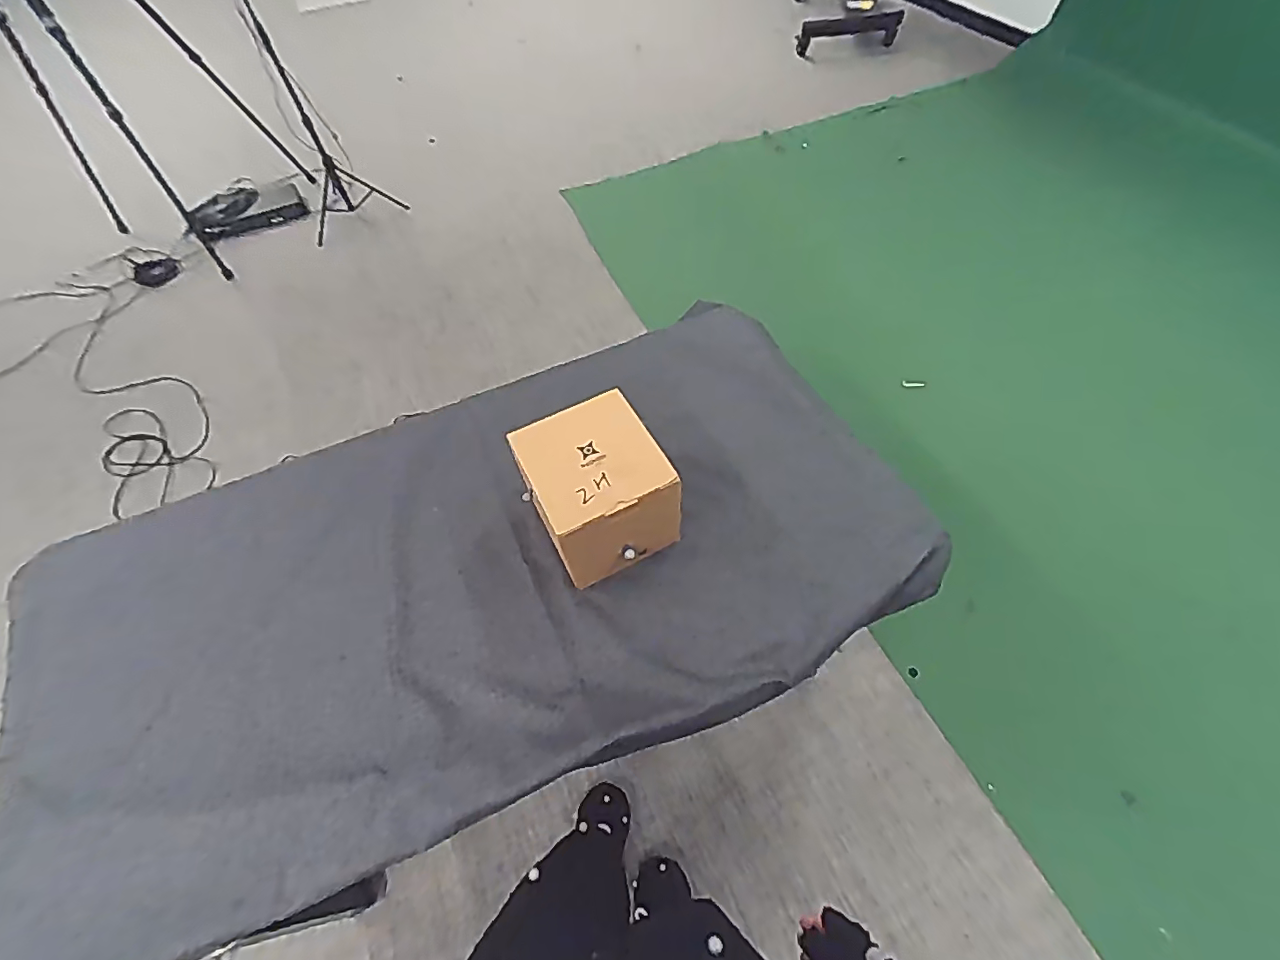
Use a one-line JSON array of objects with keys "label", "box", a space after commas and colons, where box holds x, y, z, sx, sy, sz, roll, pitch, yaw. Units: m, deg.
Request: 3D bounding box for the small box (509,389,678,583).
[{"label": "small box", "box": [-0.061, 0.012, 0.751, 0.168, 0.176, 0.179, -25, 59, -13]}]
